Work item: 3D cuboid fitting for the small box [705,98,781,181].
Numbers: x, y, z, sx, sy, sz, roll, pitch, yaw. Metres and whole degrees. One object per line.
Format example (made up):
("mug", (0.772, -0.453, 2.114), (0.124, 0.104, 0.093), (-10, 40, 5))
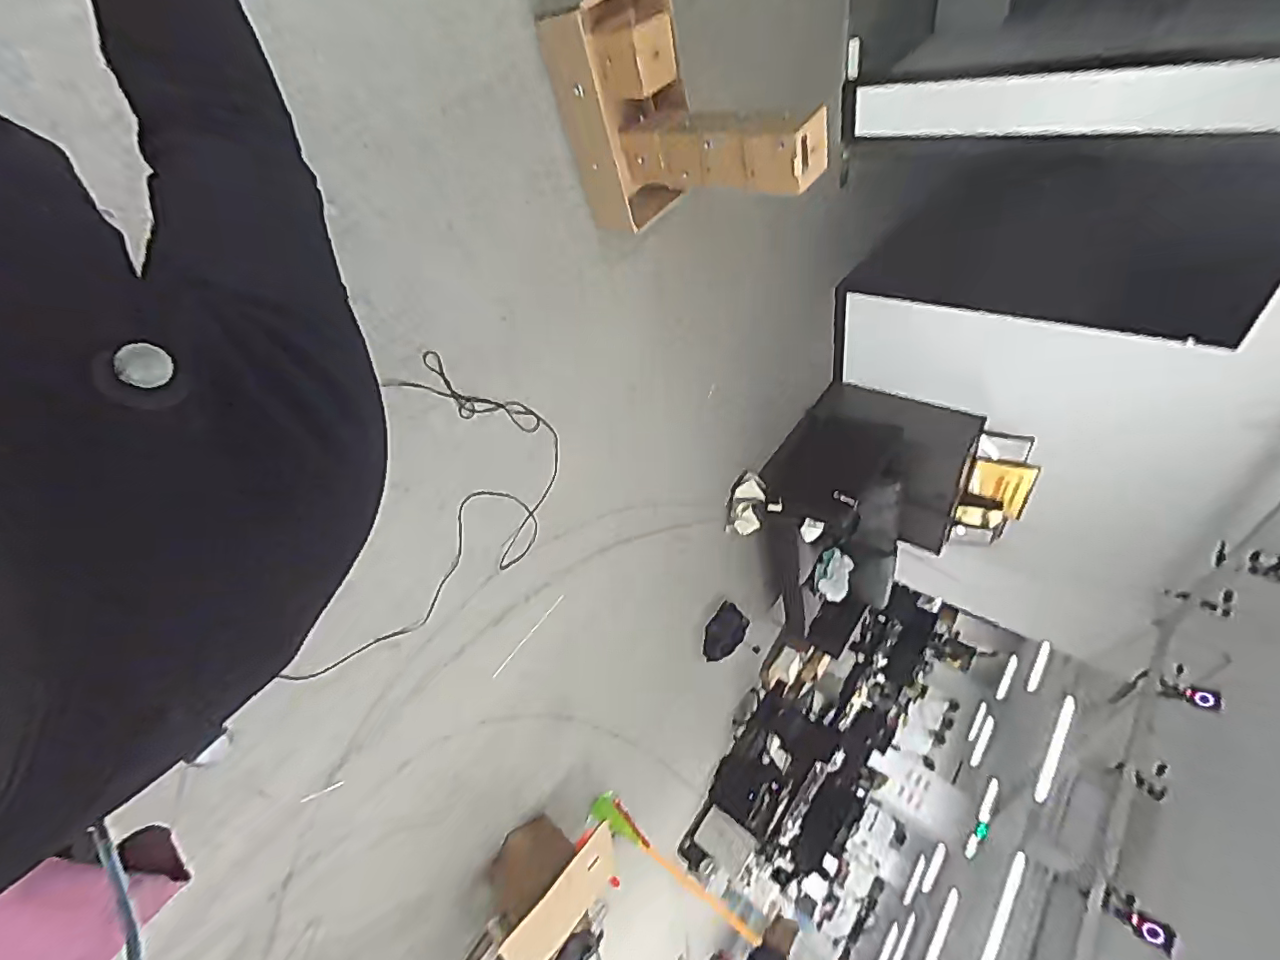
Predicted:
("small box", (0.311, -1.038, 1.654), (0.179, 0.176, 0.168), (-48, 143, -24))

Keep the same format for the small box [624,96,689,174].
("small box", (0.065, -1.163, 1.832), (0.179, 0.176, 0.168), (-52, 142, -20))

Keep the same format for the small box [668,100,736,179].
("small box", (0.205, -1.093, 1.741), (0.179, 0.176, 0.168), (-49, 142, -23))
